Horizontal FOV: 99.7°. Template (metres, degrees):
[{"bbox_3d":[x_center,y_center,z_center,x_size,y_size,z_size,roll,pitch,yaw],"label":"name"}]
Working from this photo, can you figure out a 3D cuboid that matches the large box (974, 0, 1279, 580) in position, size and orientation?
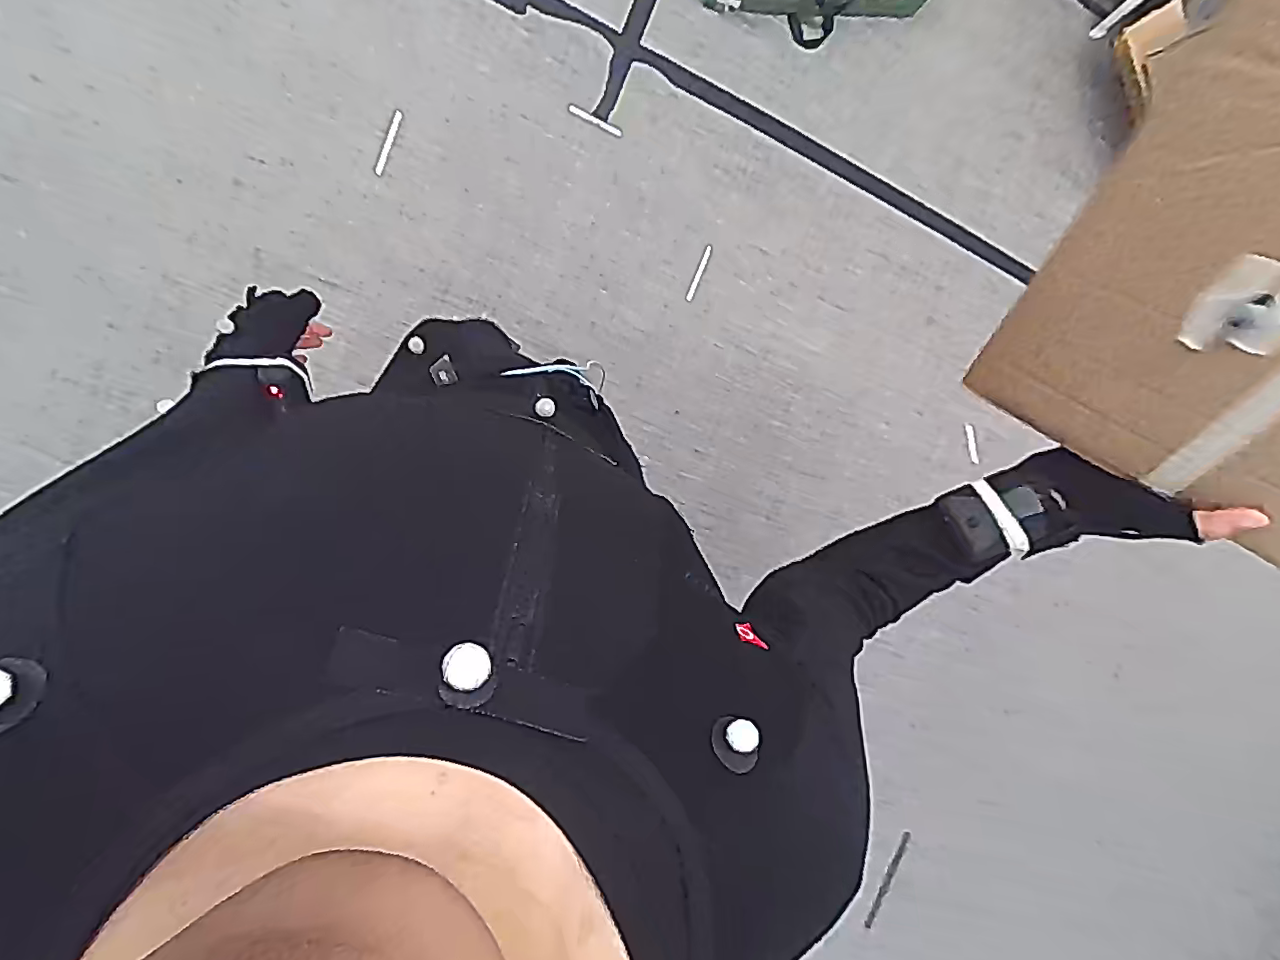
[{"bbox_3d":[0.517,-0.181,0.324,0.320,0.408,0.320,-34,65,-25],"label":"large box"}]
